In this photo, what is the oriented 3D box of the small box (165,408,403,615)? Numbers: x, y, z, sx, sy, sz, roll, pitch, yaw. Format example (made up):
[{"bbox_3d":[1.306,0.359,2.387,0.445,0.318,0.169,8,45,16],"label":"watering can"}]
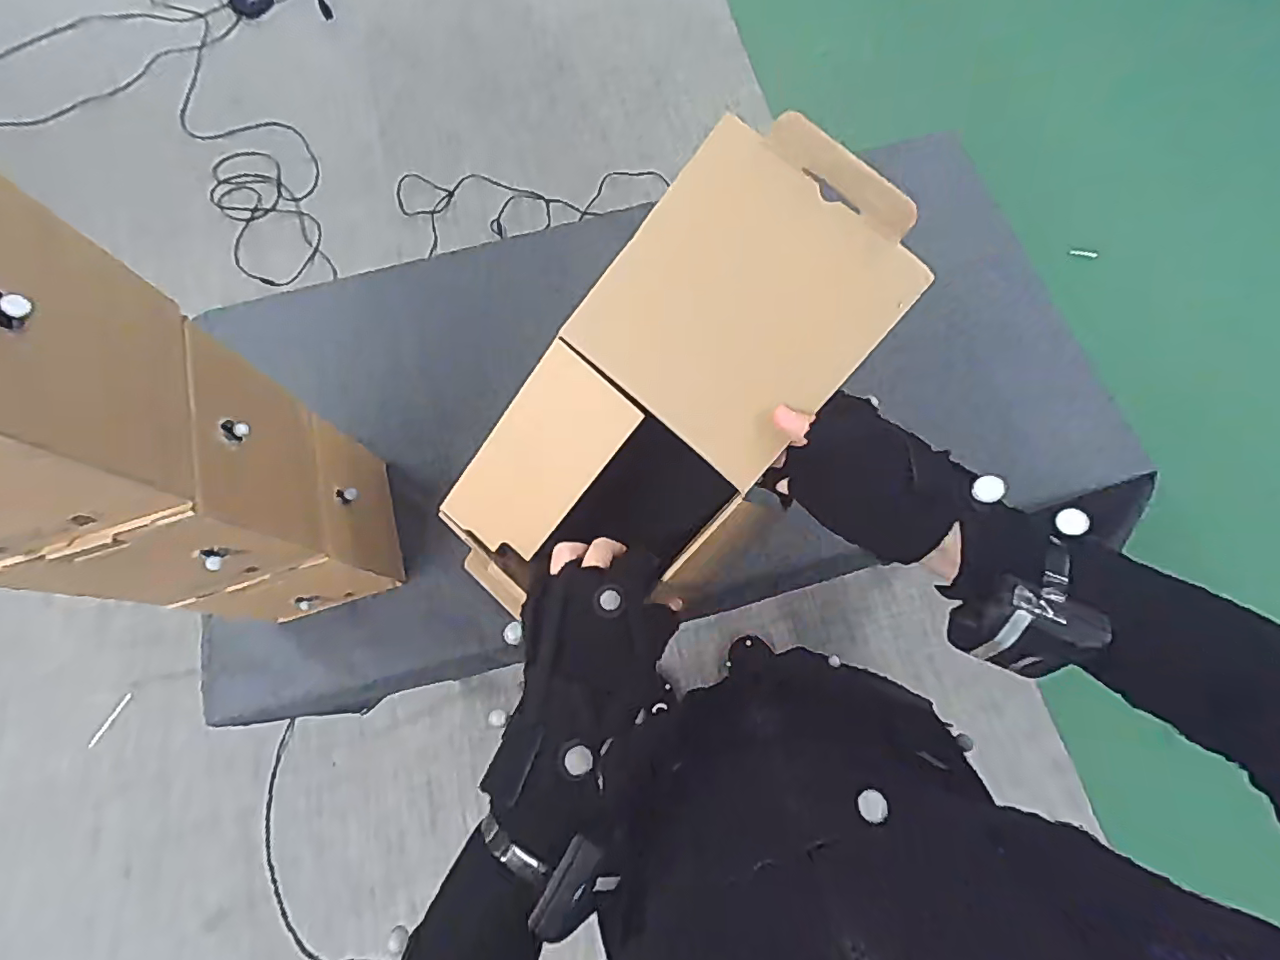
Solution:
[{"bbox_3d":[-0.402,0.046,0.632,0.168,0.176,0.179,-17,72,-3],"label":"small box"}]

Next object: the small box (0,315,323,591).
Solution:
[{"bbox_3d":[-0.410,-0.008,0.478,0.168,0.176,0.179,-17,71,-4],"label":"small box"}]

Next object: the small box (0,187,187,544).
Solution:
[{"bbox_3d":[-0.419,-0.066,0.325,0.168,0.176,0.179,-18,71,-4],"label":"small box"}]
